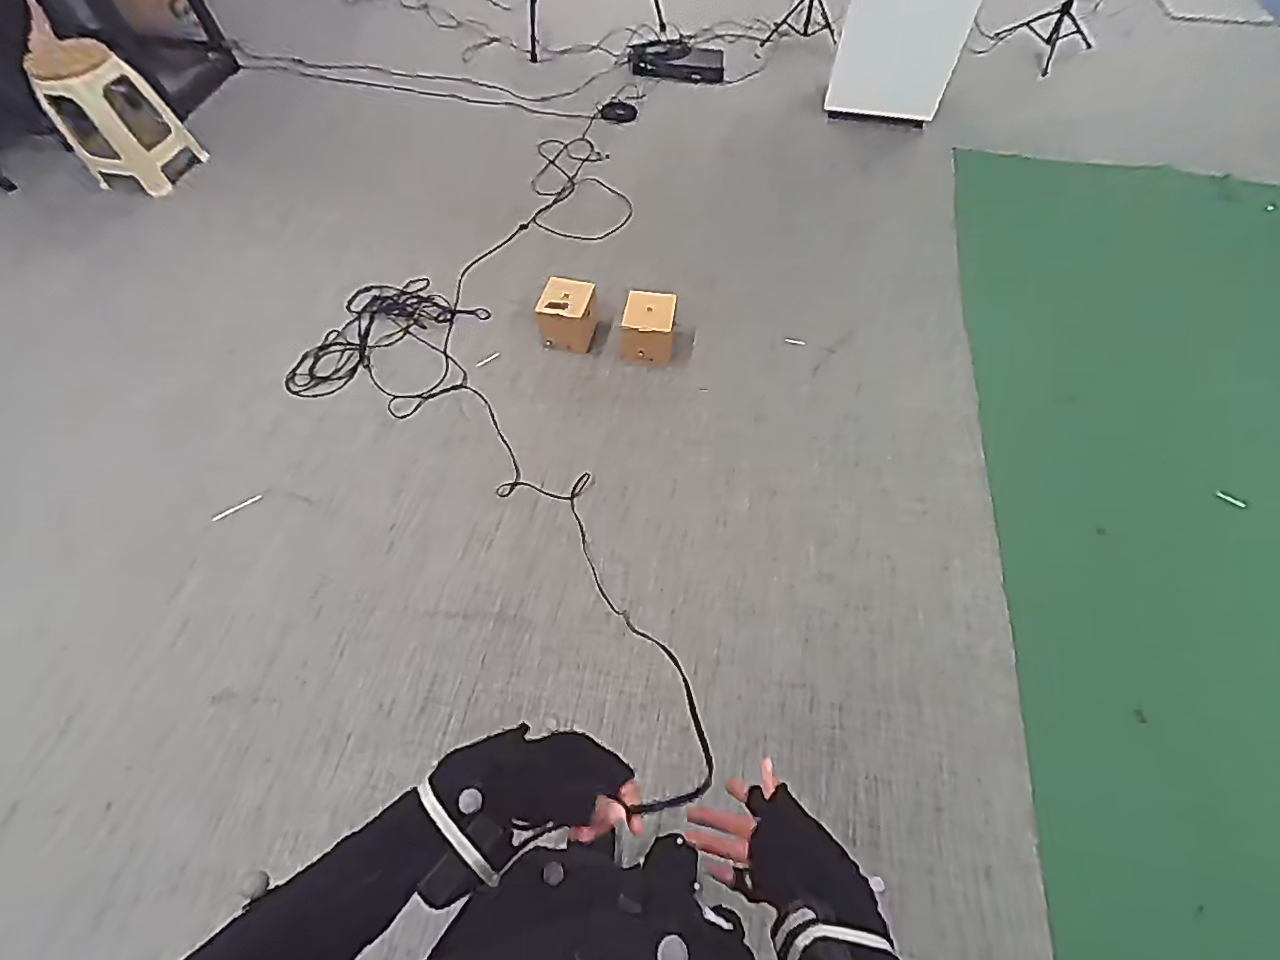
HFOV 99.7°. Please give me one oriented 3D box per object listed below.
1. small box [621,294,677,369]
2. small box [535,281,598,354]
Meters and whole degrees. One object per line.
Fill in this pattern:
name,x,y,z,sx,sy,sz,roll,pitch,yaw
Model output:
small box,0.032,-0.514,1.874,0.168,0.176,0.179,7,61,5
small box,-0.252,-0.569,1.908,0.168,0.176,0.179,12,60,7
